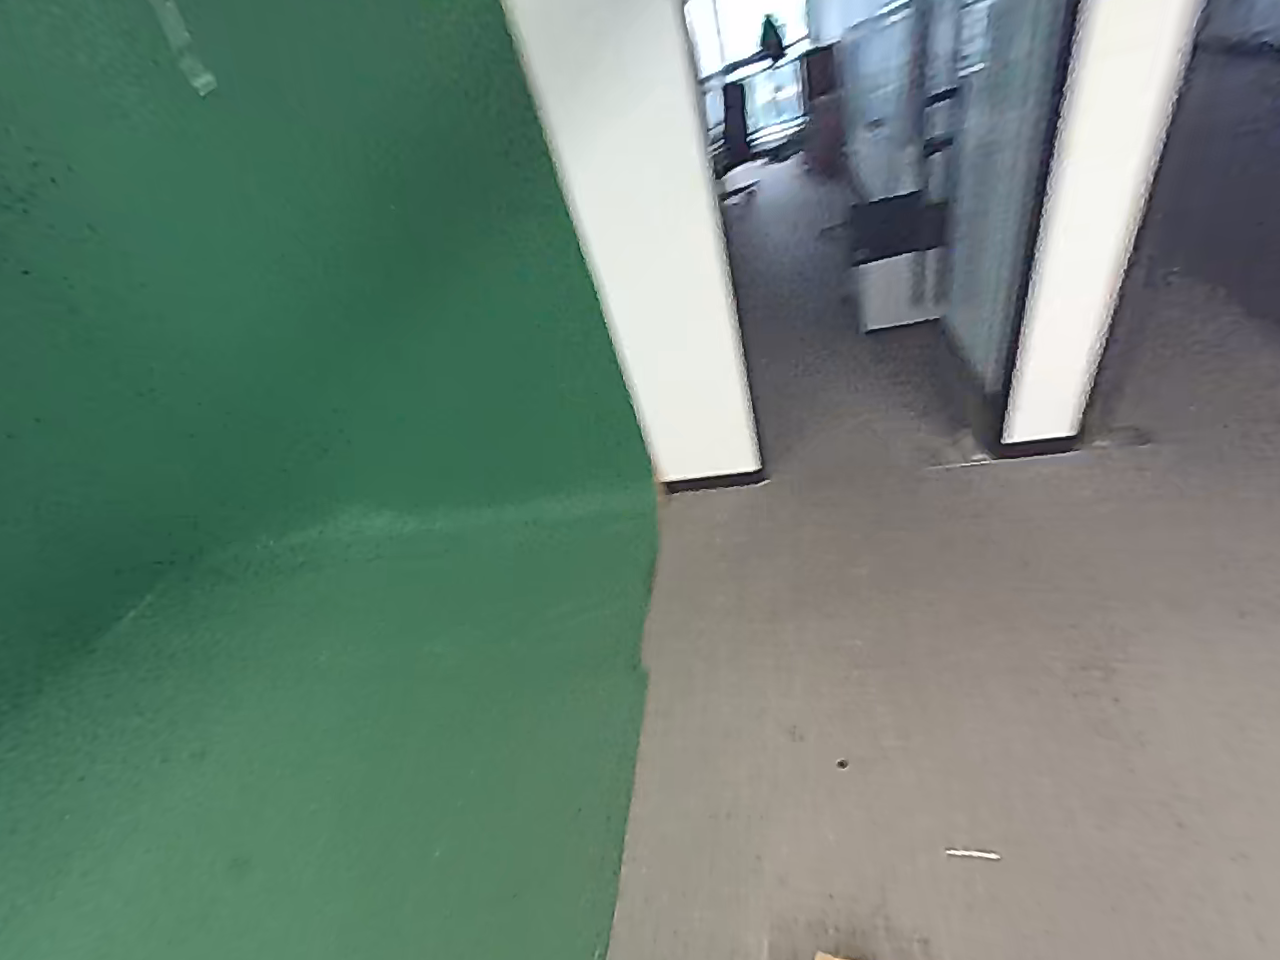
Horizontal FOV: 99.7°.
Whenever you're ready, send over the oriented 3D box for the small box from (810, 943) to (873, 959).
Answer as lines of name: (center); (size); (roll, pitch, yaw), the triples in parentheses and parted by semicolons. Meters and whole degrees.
small box: (0.430, 1.079, 1.083); (0.168, 0.176, 0.179); (-2, 40, 20)
